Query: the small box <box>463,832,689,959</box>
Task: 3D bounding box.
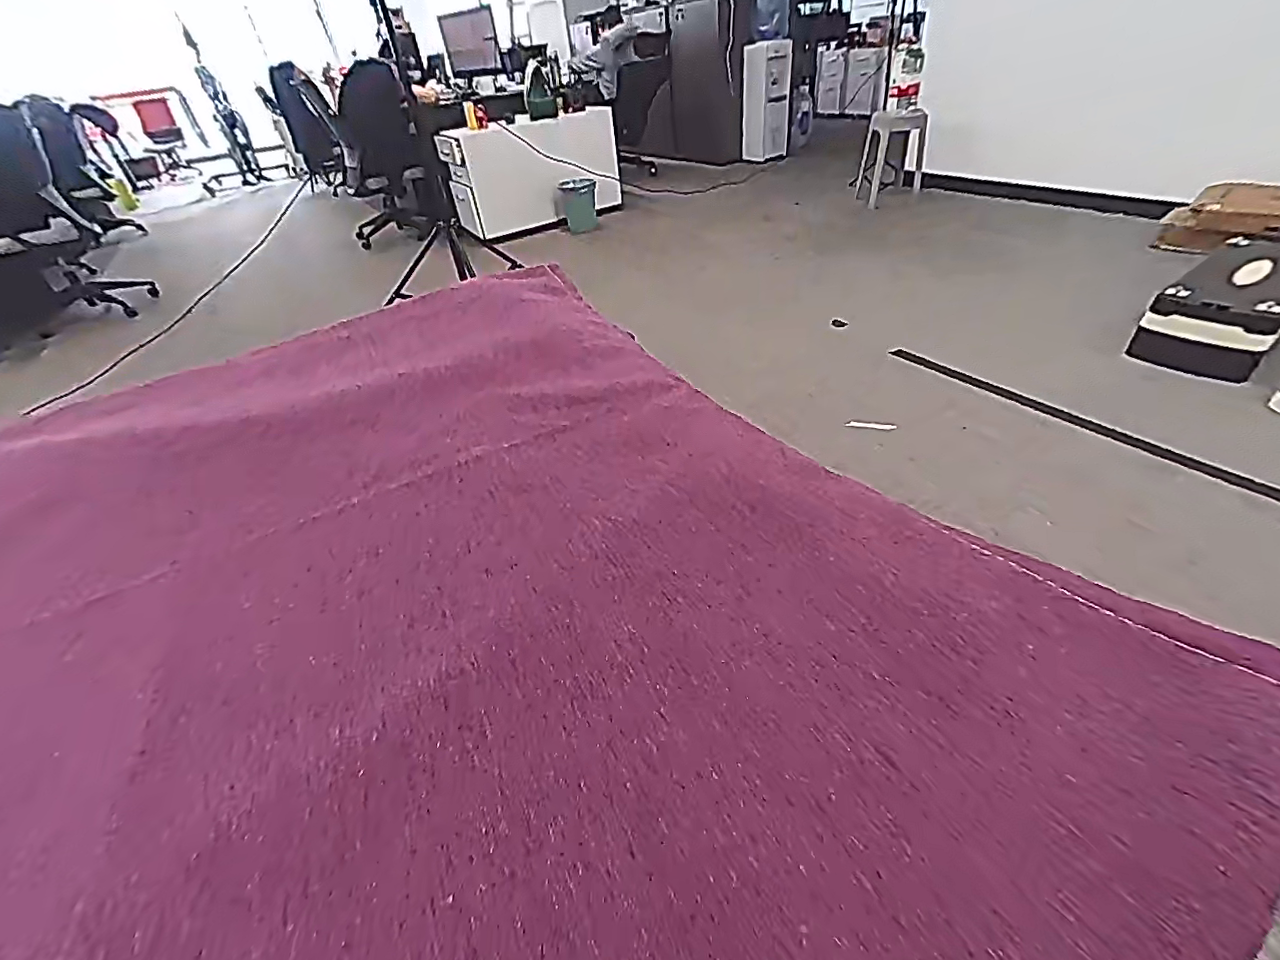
[{"bbox_3d":[-0.043,0.507,0.538,0.179,0.176,0.168,-30,45,-21],"label":"small box"}]
